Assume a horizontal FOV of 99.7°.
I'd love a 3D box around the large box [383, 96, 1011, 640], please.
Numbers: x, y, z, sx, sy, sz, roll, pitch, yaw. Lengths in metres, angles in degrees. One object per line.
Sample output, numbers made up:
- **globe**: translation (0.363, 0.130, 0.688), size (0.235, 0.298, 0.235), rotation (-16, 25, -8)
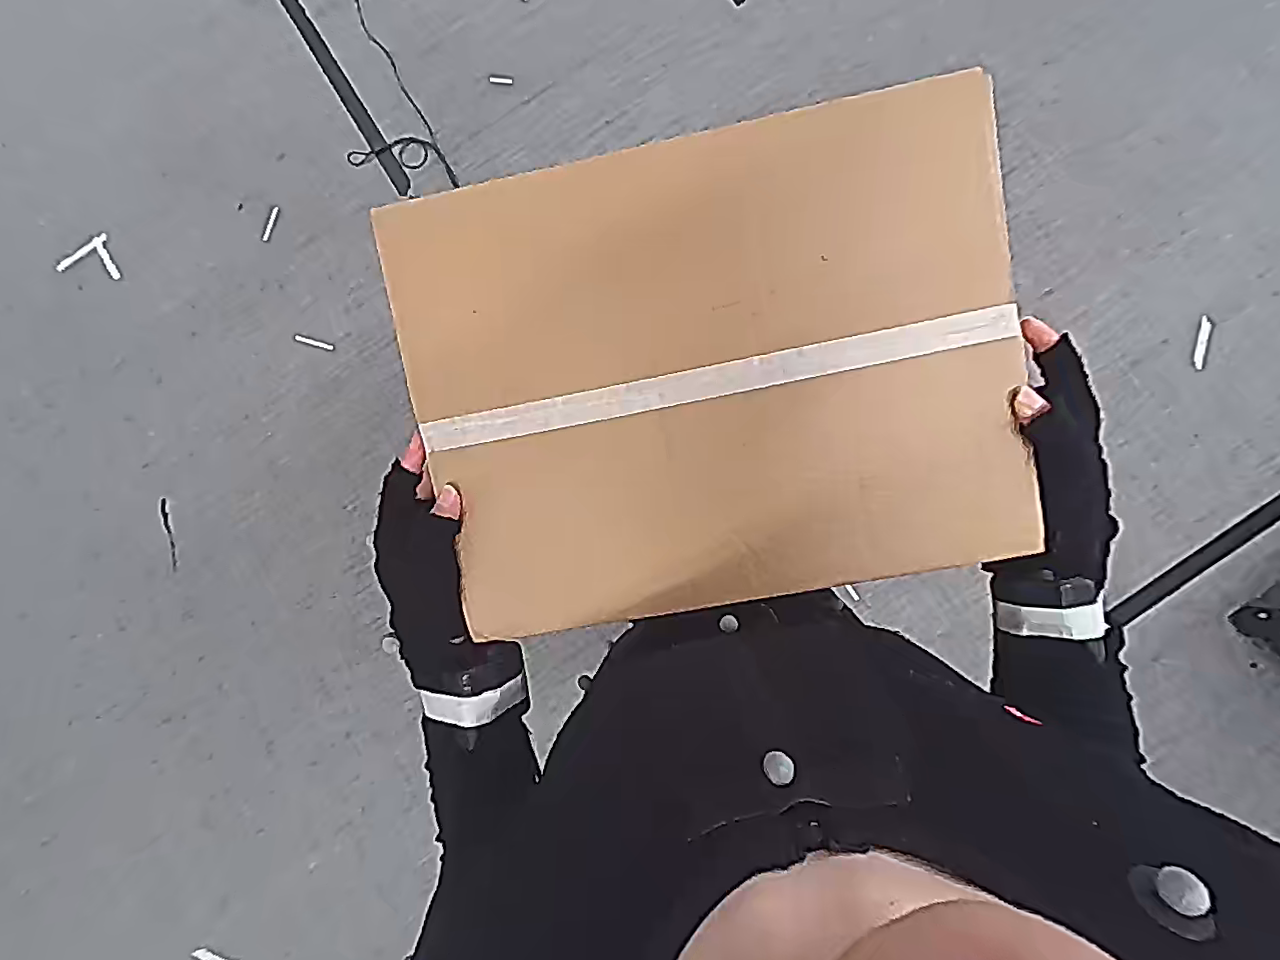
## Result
- **large box**: translation (0.050, -0.082, 0.527), size (0.408, 0.320, 0.320), rotation (-10, 96, 5)
